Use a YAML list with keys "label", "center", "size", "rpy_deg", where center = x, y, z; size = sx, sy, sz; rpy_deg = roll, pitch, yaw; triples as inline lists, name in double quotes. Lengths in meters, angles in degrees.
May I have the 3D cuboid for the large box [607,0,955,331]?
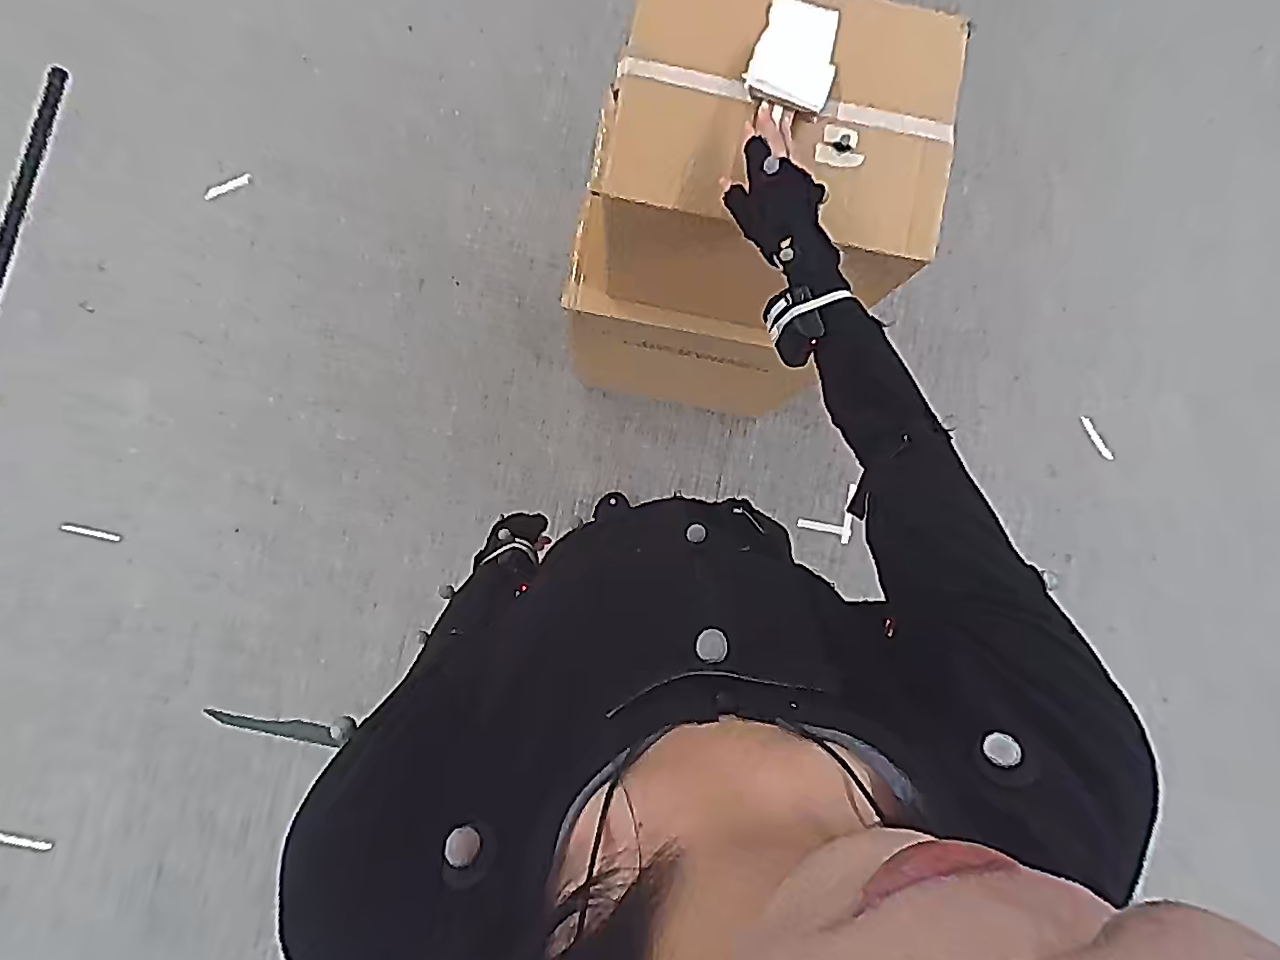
- label: "large box"
  center: [0.170, -0.449, 0.810]
  size: [0.408, 0.320, 0.320]
  rpy_deg: [10, 87, -3]
